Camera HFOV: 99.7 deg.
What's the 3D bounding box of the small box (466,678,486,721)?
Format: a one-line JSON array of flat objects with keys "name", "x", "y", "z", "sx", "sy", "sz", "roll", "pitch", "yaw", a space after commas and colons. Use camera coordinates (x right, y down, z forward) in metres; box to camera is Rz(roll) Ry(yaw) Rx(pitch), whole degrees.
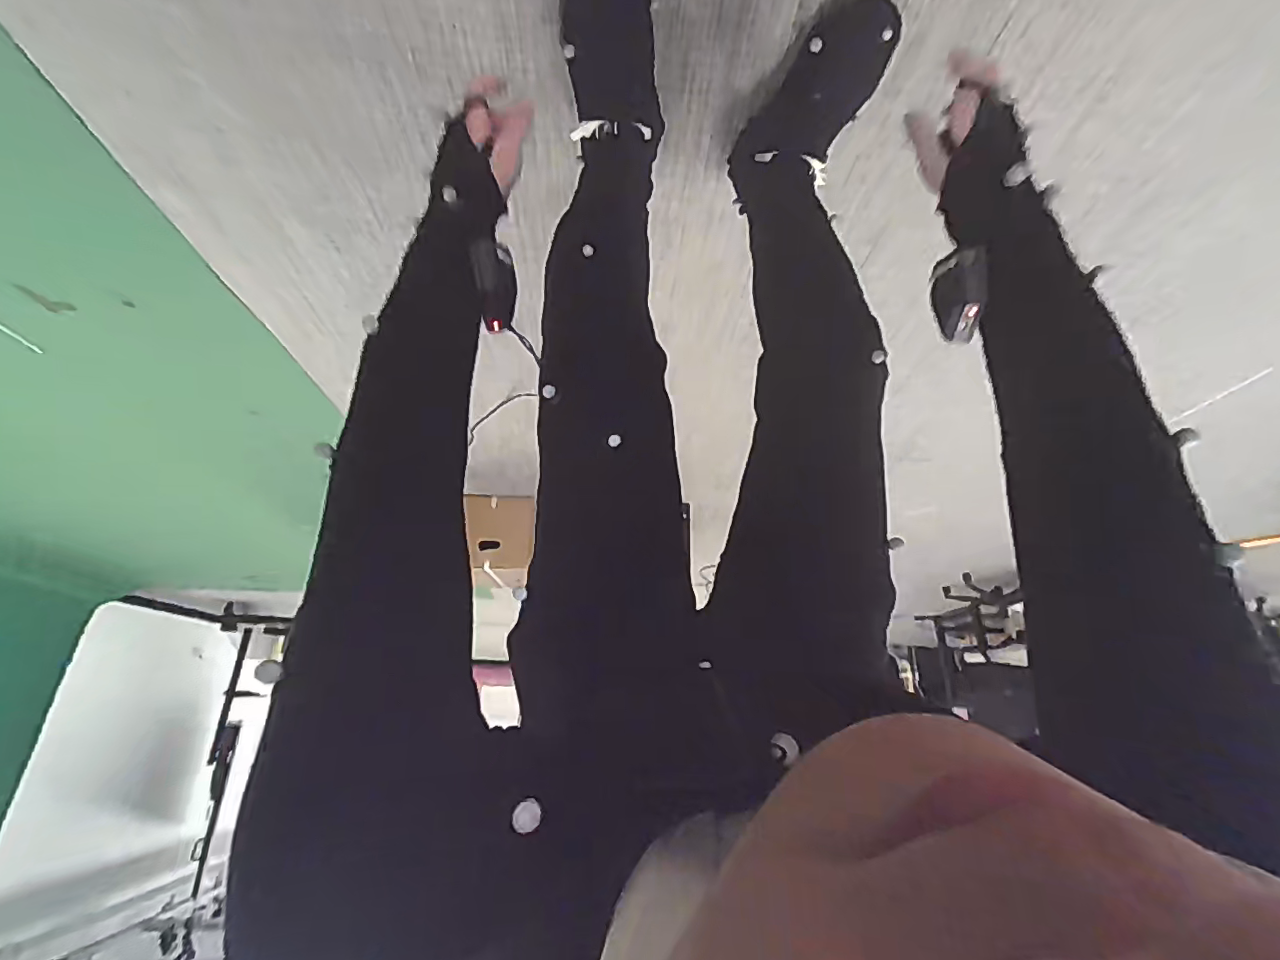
[{"name": "small box", "x": -0.776, "y": 0.956, "z": 2.360, "sx": 0.168, "sy": 0.176, "sz": 0.179, "roll": 1, "pitch": 156, "yaw": -4}]
